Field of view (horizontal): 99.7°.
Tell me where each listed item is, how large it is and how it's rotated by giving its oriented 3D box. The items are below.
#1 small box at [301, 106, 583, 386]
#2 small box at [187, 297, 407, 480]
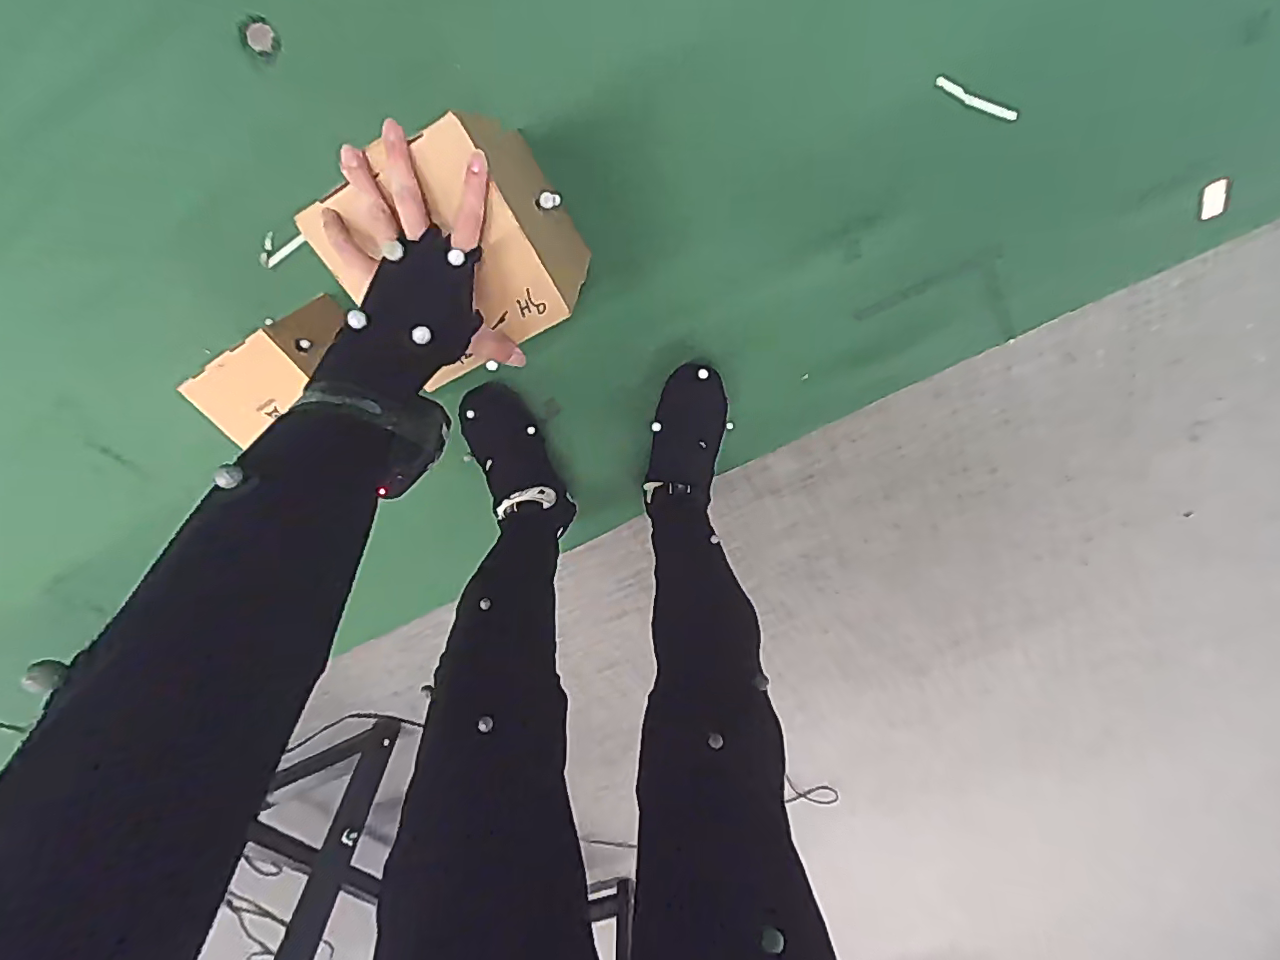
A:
[{"bbox_3d":[-0.170,-0.226,0.531,0.168,0.176,0.179,-24,120,13],"label":"small box"},{"bbox_3d":[-0.480,-0.137,0.791,0.168,0.176,0.179,-25,119,17],"label":"small box"}]
